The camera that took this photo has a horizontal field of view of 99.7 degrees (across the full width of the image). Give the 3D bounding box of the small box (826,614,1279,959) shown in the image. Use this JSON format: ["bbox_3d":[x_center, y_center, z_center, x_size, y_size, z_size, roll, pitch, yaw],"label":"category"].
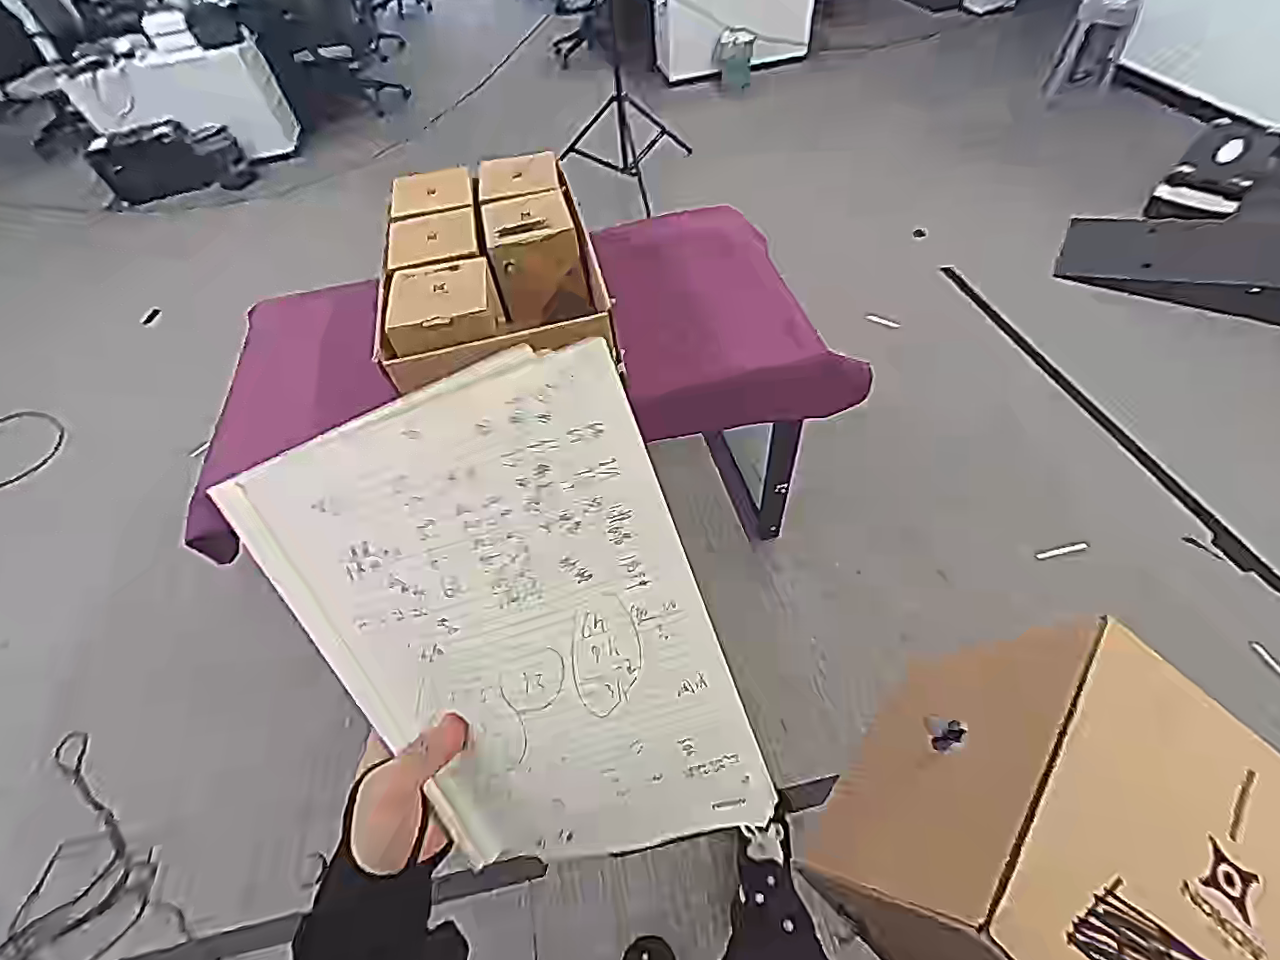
[{"bbox_3d":[0.233,0.210,0.299,0.168,0.176,0.179,43,62,11],"label":"small box"}]
